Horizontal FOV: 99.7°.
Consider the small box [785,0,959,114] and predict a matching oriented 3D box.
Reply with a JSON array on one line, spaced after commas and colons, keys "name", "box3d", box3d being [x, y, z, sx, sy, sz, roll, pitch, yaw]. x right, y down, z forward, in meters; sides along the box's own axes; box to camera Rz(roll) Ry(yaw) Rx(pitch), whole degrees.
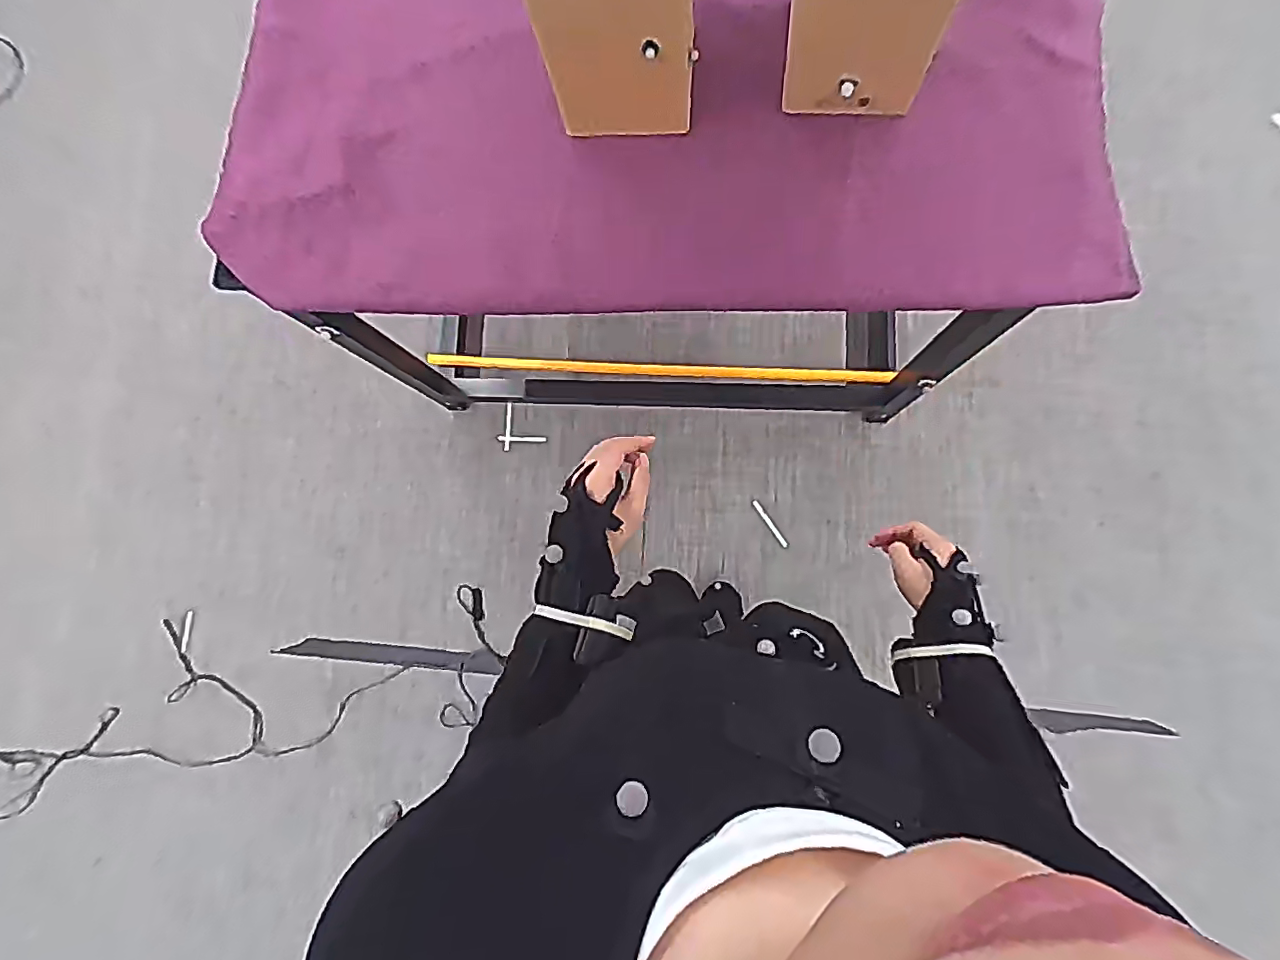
[{"name": "small box", "box3d": [0.279, -0.596, 0.663, 0.168, 0.176, 0.179, 6, 83, 7]}]

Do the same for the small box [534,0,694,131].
[{"name": "small box", "box3d": [-0.022, -0.582, 0.695, 0.179, 0.176, 0.168, 2, 82, 6]}]
